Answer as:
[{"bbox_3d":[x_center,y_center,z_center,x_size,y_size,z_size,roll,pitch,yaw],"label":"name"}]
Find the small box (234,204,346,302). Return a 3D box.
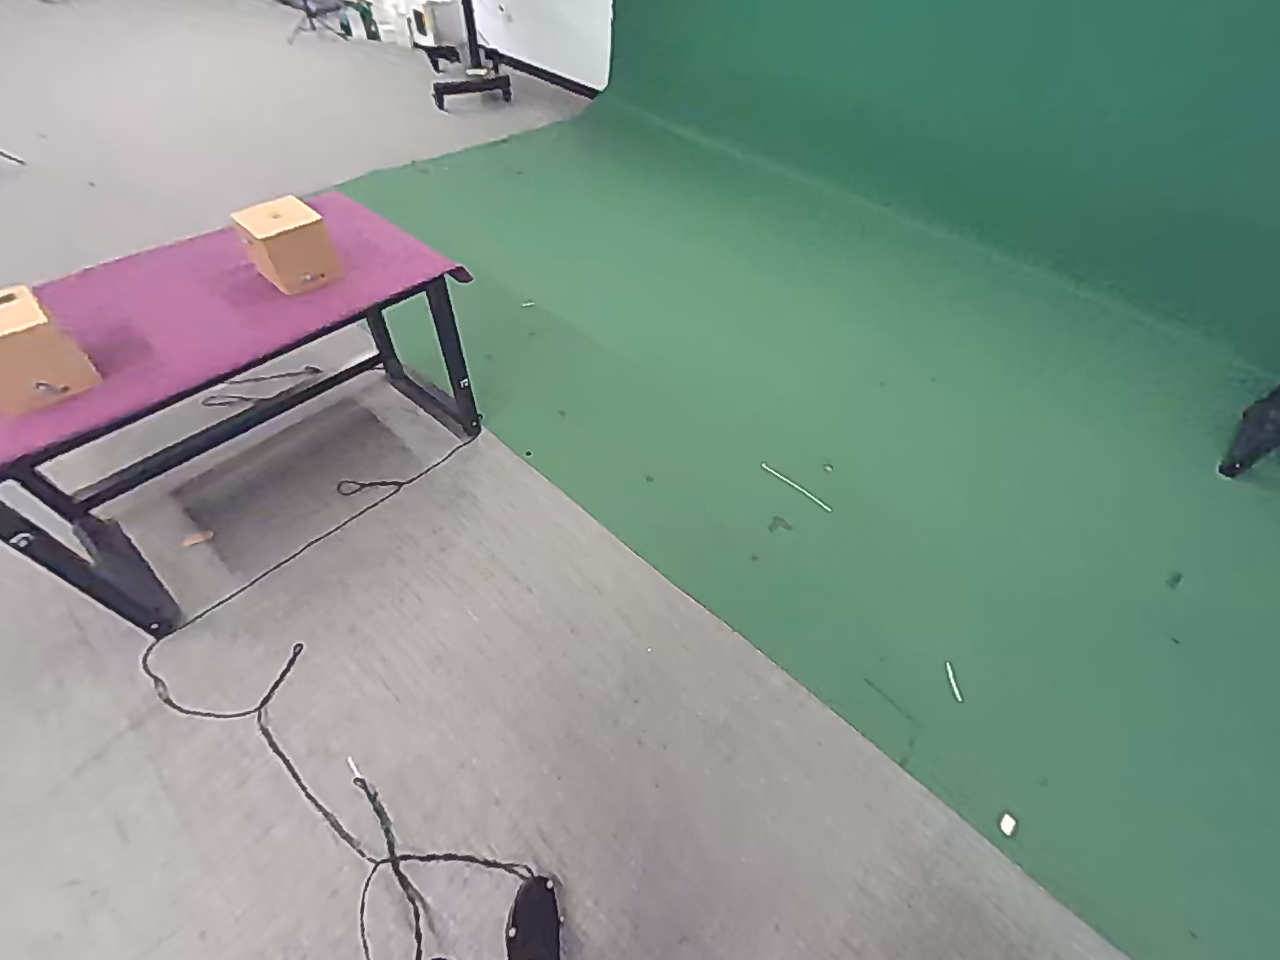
[{"bbox_3d":[-0.938,-0.610,1.460,0.179,0.176,0.168,37,59,24],"label":"small box"}]
